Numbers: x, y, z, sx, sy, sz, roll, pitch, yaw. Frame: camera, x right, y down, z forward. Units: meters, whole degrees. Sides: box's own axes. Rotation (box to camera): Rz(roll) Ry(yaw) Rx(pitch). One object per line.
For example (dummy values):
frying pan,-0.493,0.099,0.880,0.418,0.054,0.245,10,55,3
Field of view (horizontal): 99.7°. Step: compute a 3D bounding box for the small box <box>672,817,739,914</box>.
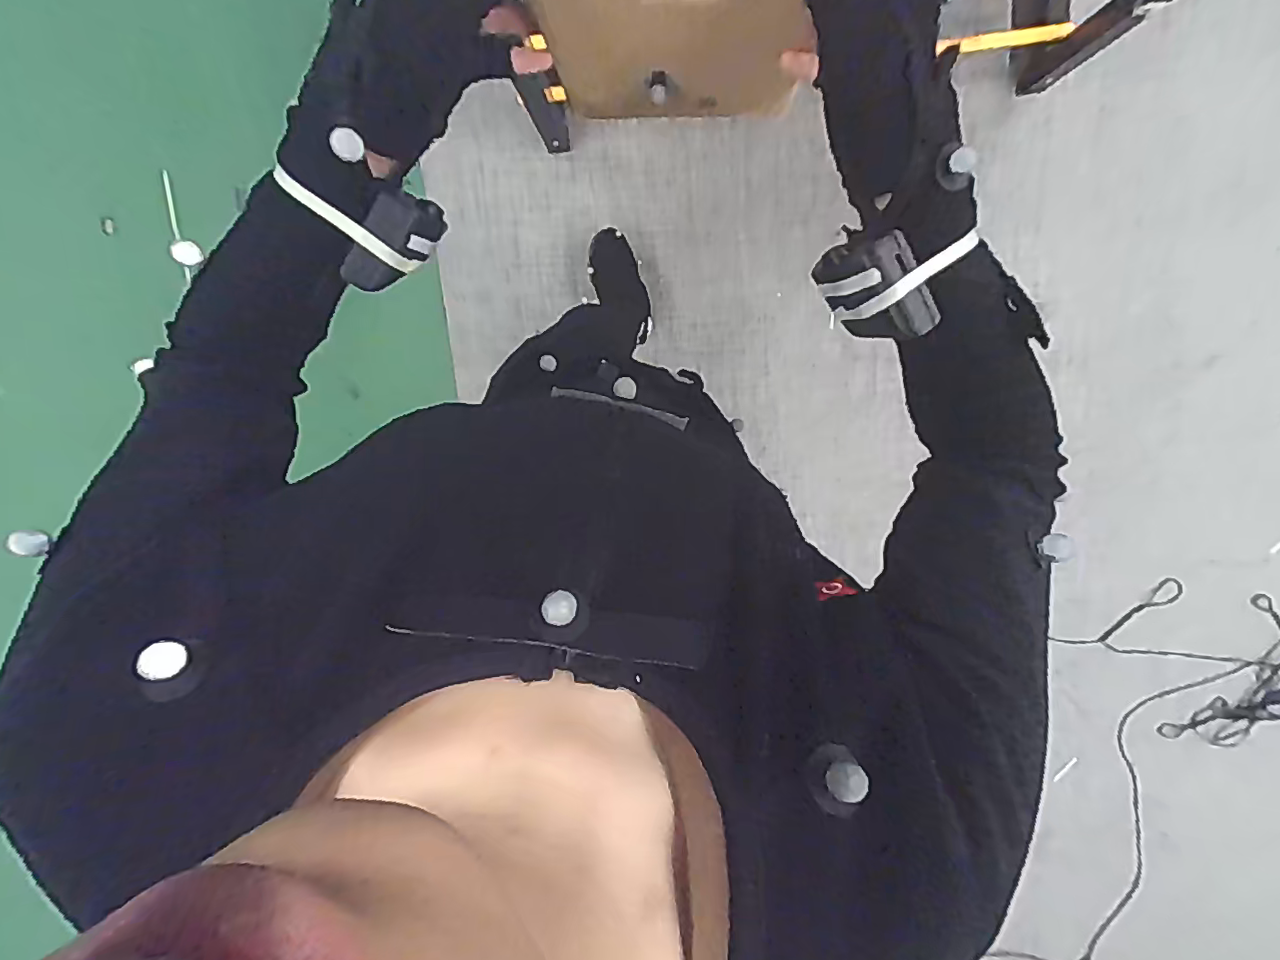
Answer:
small box,0.193,1.151,1.631,0.168,0.176,0.179,-12,102,5
